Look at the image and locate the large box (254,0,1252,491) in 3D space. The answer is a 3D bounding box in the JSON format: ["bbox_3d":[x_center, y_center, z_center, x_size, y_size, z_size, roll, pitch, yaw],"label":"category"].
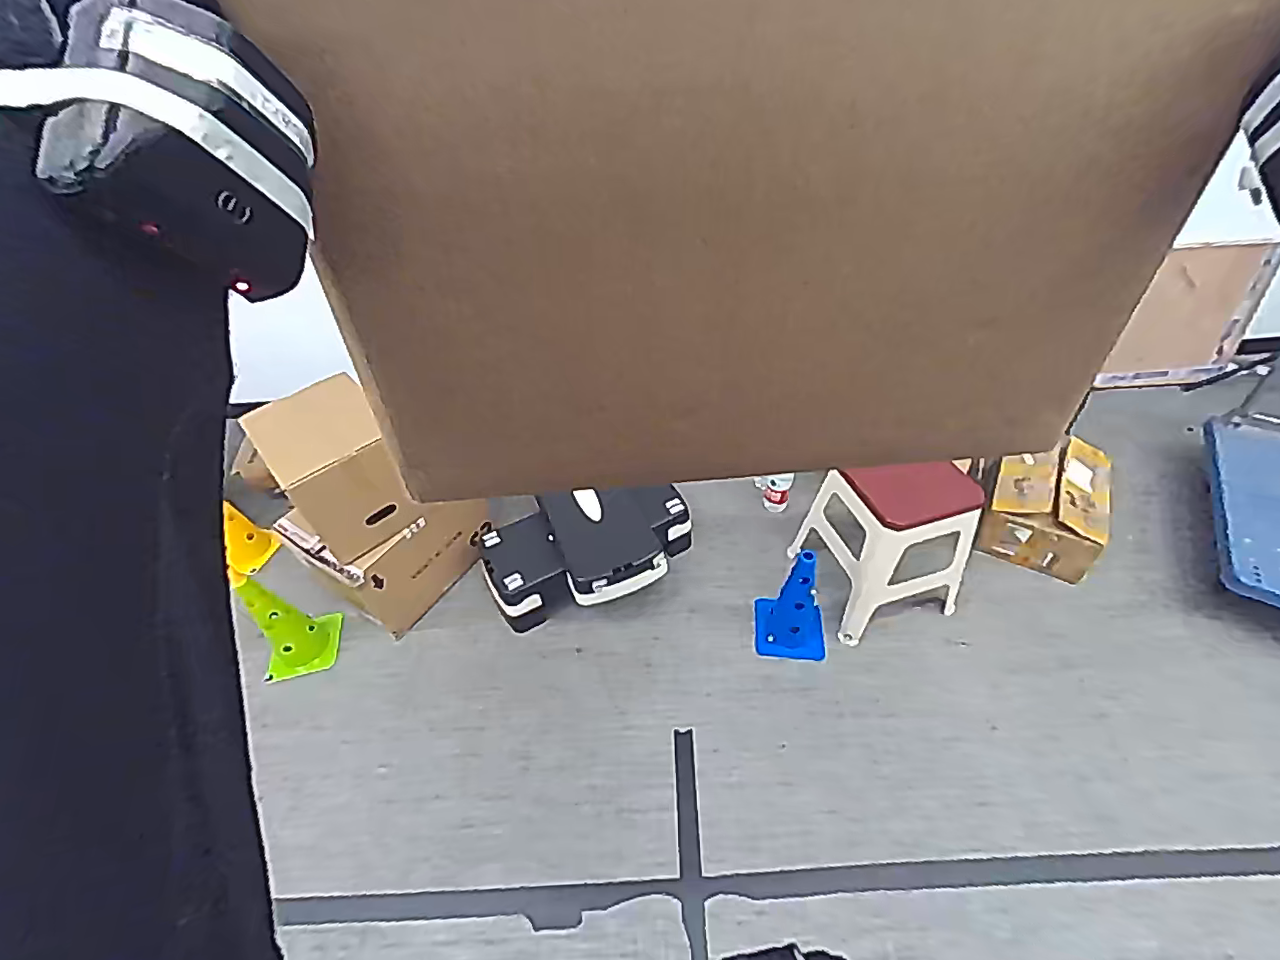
[{"bbox_3d":[0.041,-0.216,0.364,0.408,0.320,0.320,-5,40,-5],"label":"large box"}]
